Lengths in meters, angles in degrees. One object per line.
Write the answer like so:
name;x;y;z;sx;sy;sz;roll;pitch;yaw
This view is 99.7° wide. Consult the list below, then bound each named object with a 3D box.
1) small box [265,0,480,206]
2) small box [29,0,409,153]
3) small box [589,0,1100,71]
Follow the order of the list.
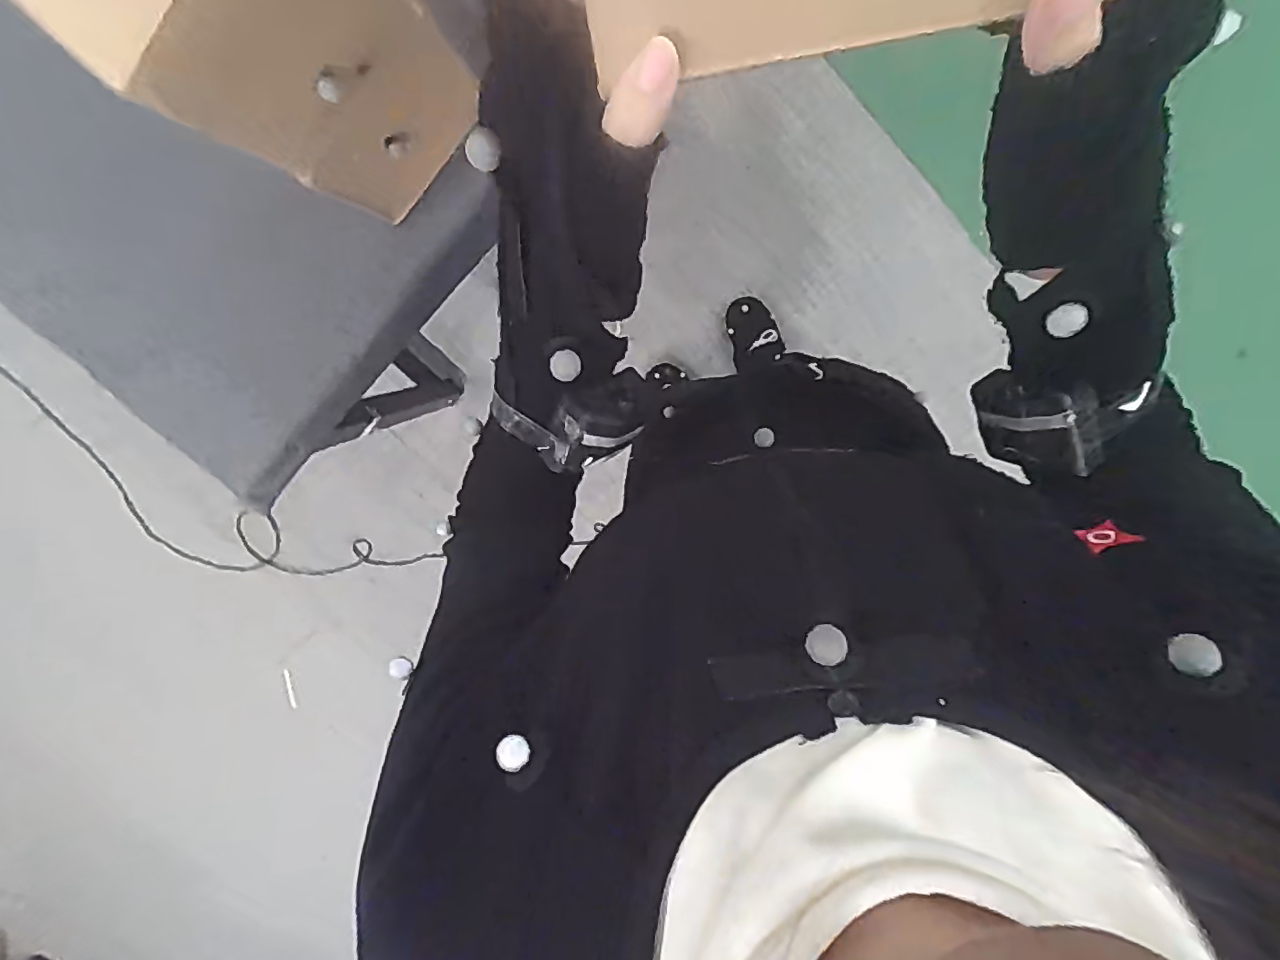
small box;-0.285;-0.400;0.516;0.168;0.176;0.179;44;103;-8
small box;-0.298;-0.363;0.356;0.179;0.176;0.168;44;103;-8
small box;0.054;-0.258;0.159;0.168;0.176;0.179;-6;141;4
